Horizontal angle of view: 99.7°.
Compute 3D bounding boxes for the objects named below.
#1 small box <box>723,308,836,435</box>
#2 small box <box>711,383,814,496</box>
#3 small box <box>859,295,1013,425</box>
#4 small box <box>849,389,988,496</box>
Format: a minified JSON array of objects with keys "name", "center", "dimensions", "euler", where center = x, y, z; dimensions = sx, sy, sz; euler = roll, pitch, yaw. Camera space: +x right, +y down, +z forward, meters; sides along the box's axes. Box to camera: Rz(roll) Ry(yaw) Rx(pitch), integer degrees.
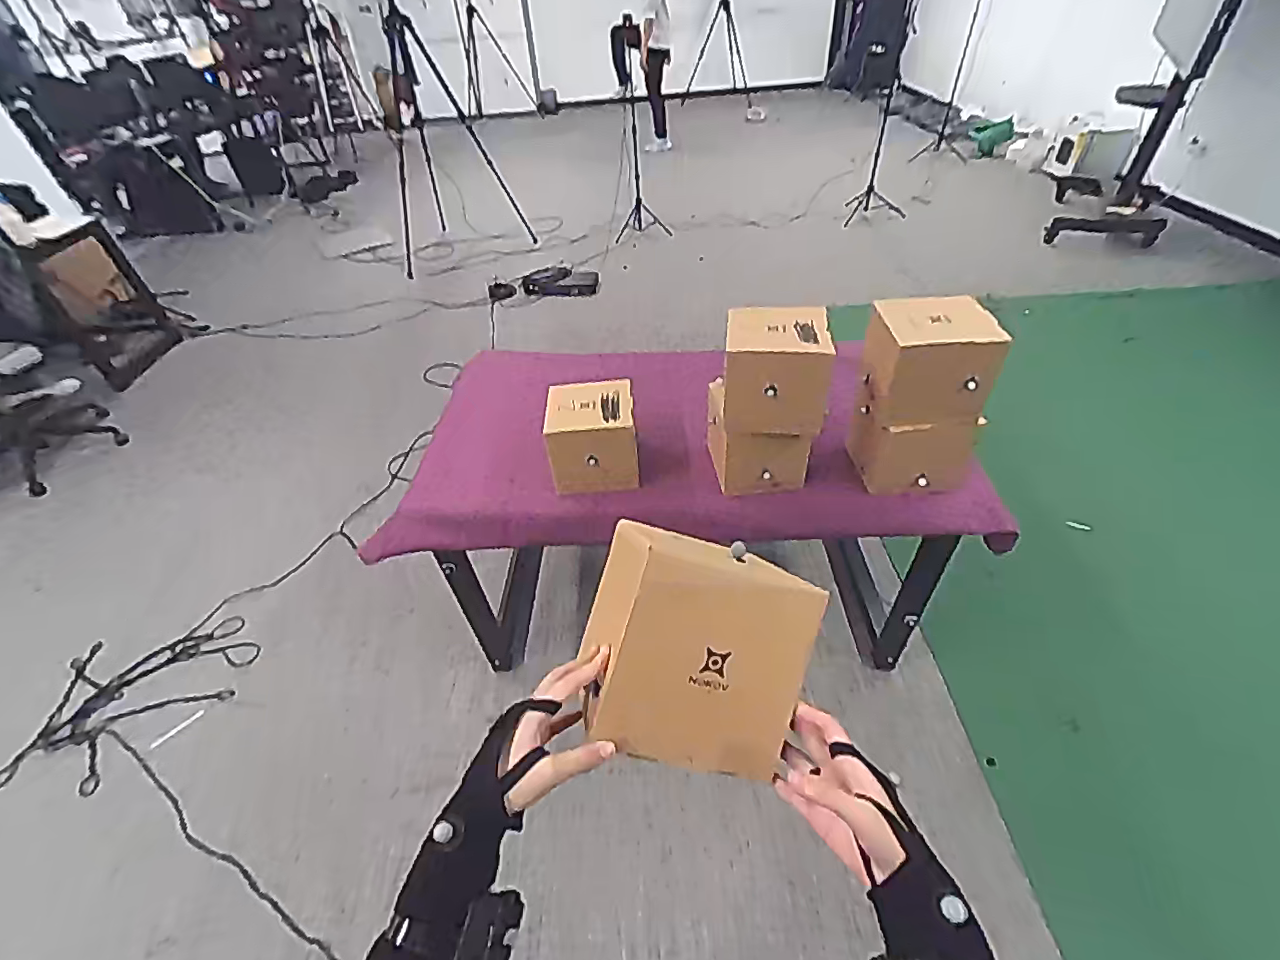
[{"name":"small box","center":[0.244,-0.195,0.978],"dimensions":[0.179,0.176,0.168],"euler":[2,42,10]},{"name":"small box","center":[0.241,-0.089,1.107],"dimensions":[0.168,0.176,0.179],"euler":[-7,42,-1]},{"name":"small box","center":[0.512,-0.212,0.967],"dimensions":[0.179,0.176,0.168],"euler":[-2,43,6]},{"name":"small box","center":[0.537,-0.087,1.072],"dimensions":[0.179,0.176,0.168],"euler":[-6,43,2]}]
